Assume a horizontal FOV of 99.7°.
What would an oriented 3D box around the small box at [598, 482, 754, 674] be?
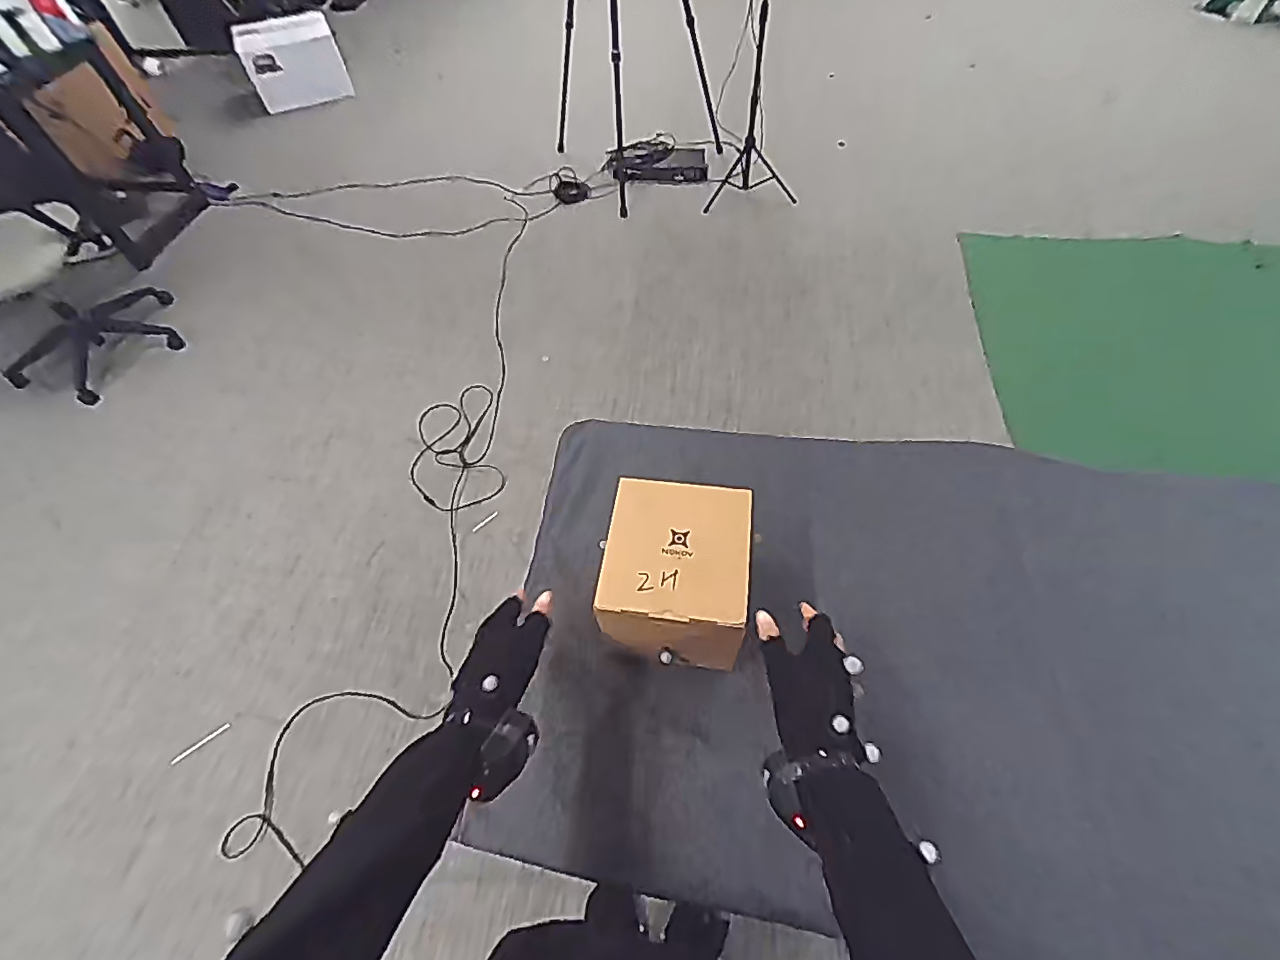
[{"bbox_3d":[0.049,0.126,0.689,0.168,0.176,0.179,6,55,7],"label":"small box"}]
